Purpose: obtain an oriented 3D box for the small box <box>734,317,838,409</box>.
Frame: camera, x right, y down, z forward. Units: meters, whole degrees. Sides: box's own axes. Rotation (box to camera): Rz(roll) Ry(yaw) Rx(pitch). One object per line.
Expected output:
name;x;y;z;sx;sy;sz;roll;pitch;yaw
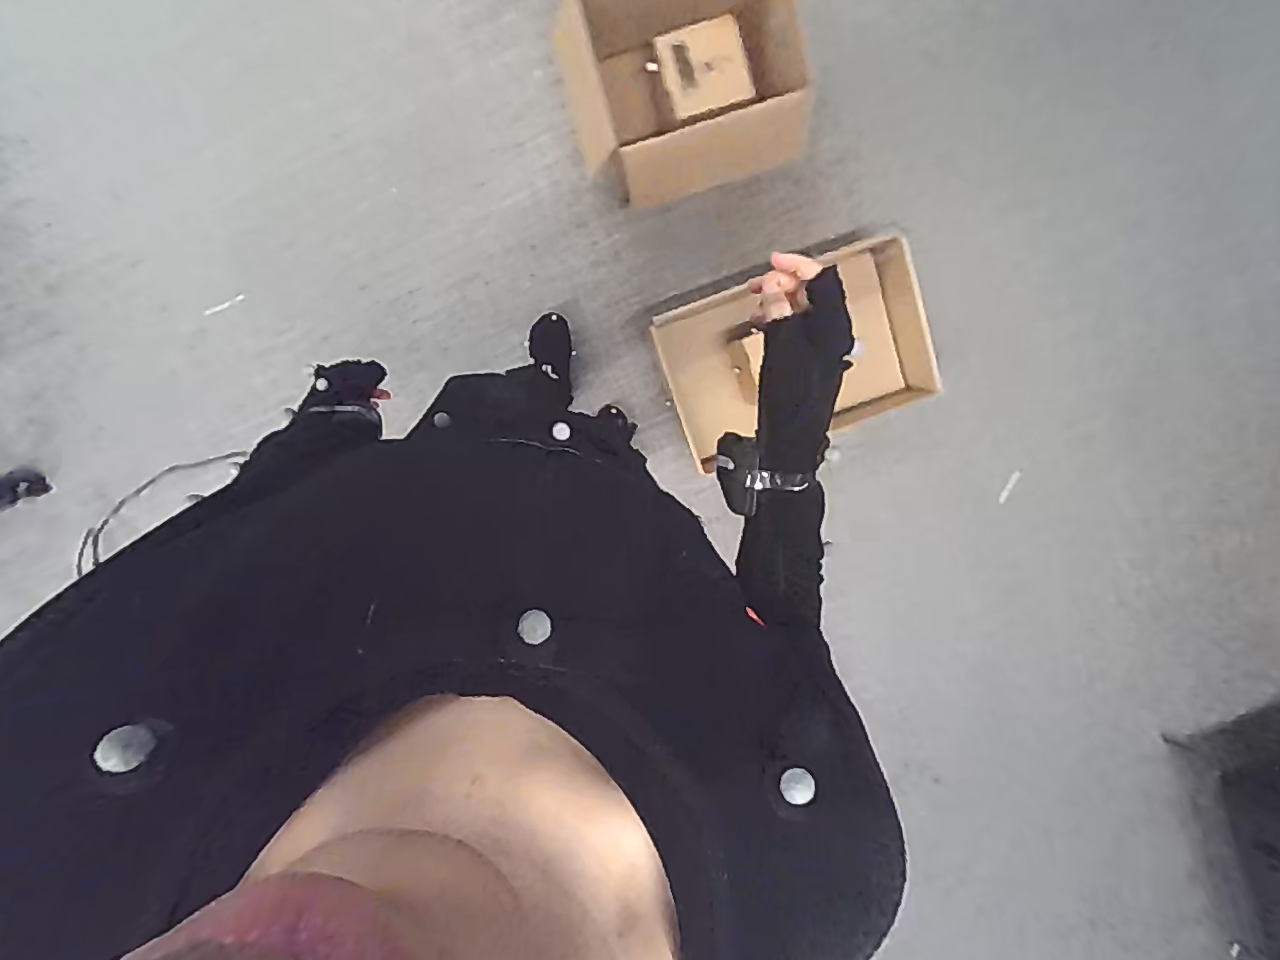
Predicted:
small box;0.346;-0.281;1.308;0.179;0.176;0.168;-20;101;1
